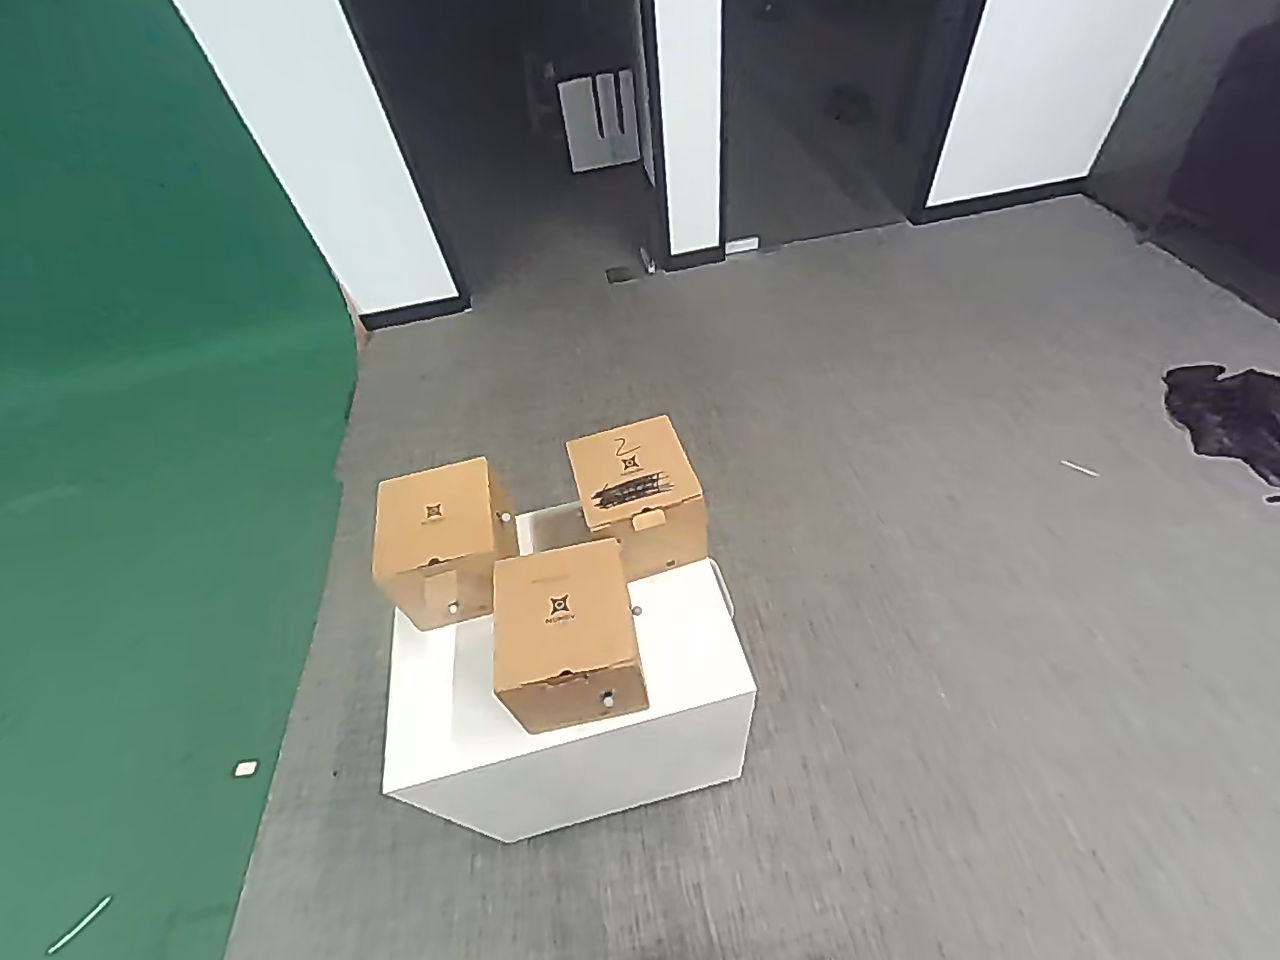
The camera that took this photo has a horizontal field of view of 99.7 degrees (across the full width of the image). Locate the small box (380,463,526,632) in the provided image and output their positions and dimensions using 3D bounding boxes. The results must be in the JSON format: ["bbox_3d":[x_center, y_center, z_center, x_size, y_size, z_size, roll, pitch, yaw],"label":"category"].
[{"bbox_3d":[-0.277,0.106,0.834,0.168,0.176,0.179,-14,51,-5],"label":"small box"}]

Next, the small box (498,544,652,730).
[{"bbox_3d":[-0.081,0.214,0.716,0.168,0.176,0.179,-10,48,-2],"label":"small box"}]
